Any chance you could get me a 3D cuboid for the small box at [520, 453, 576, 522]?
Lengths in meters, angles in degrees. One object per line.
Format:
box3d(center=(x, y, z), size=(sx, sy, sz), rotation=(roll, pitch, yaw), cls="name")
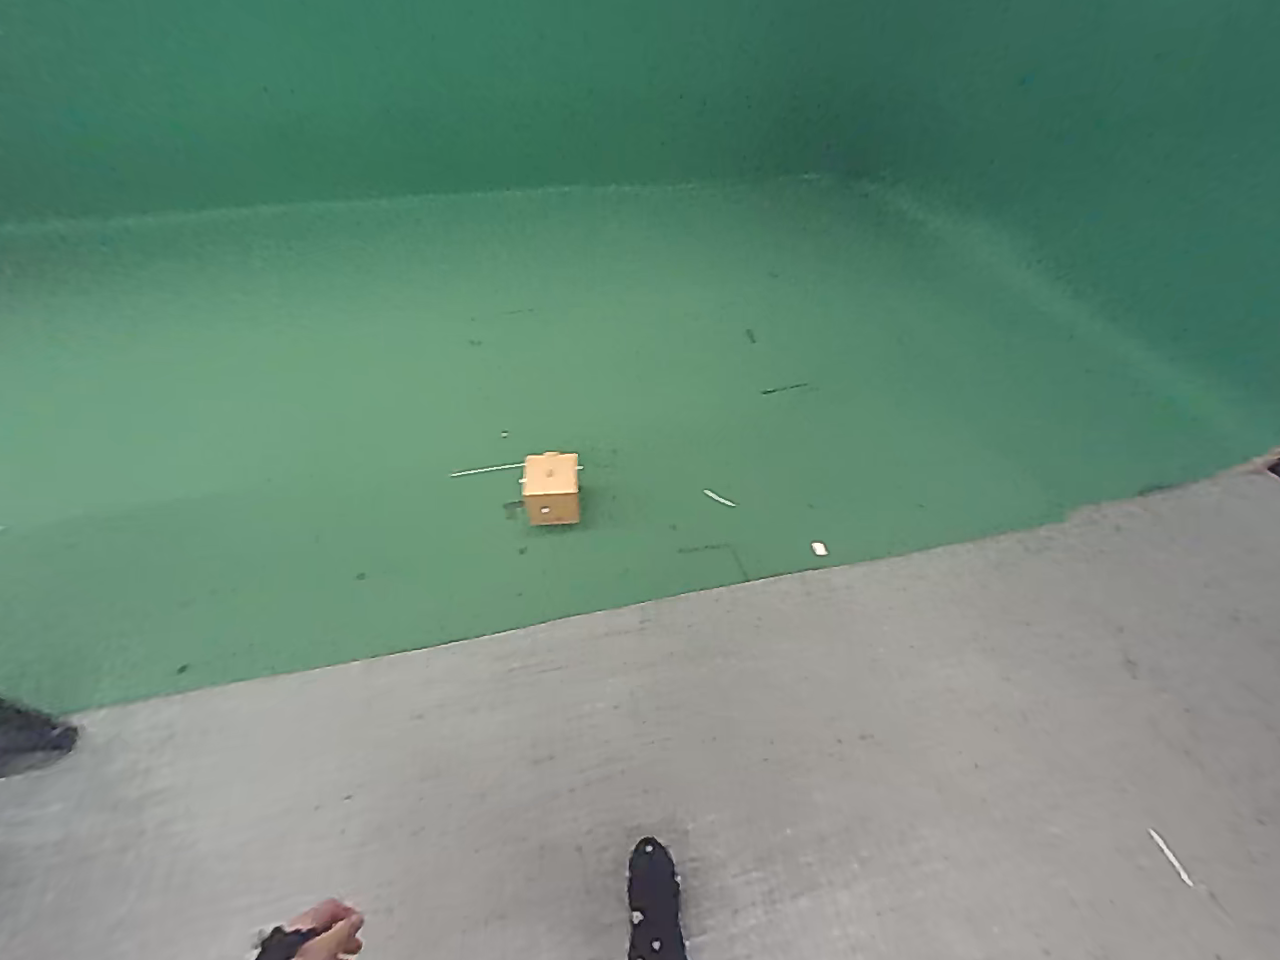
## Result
box3d(center=(-0.302, 0.031, 1.811), size=(0.168, 0.176, 0.179), rotation=(-3, 49, -5), cls="small box")
